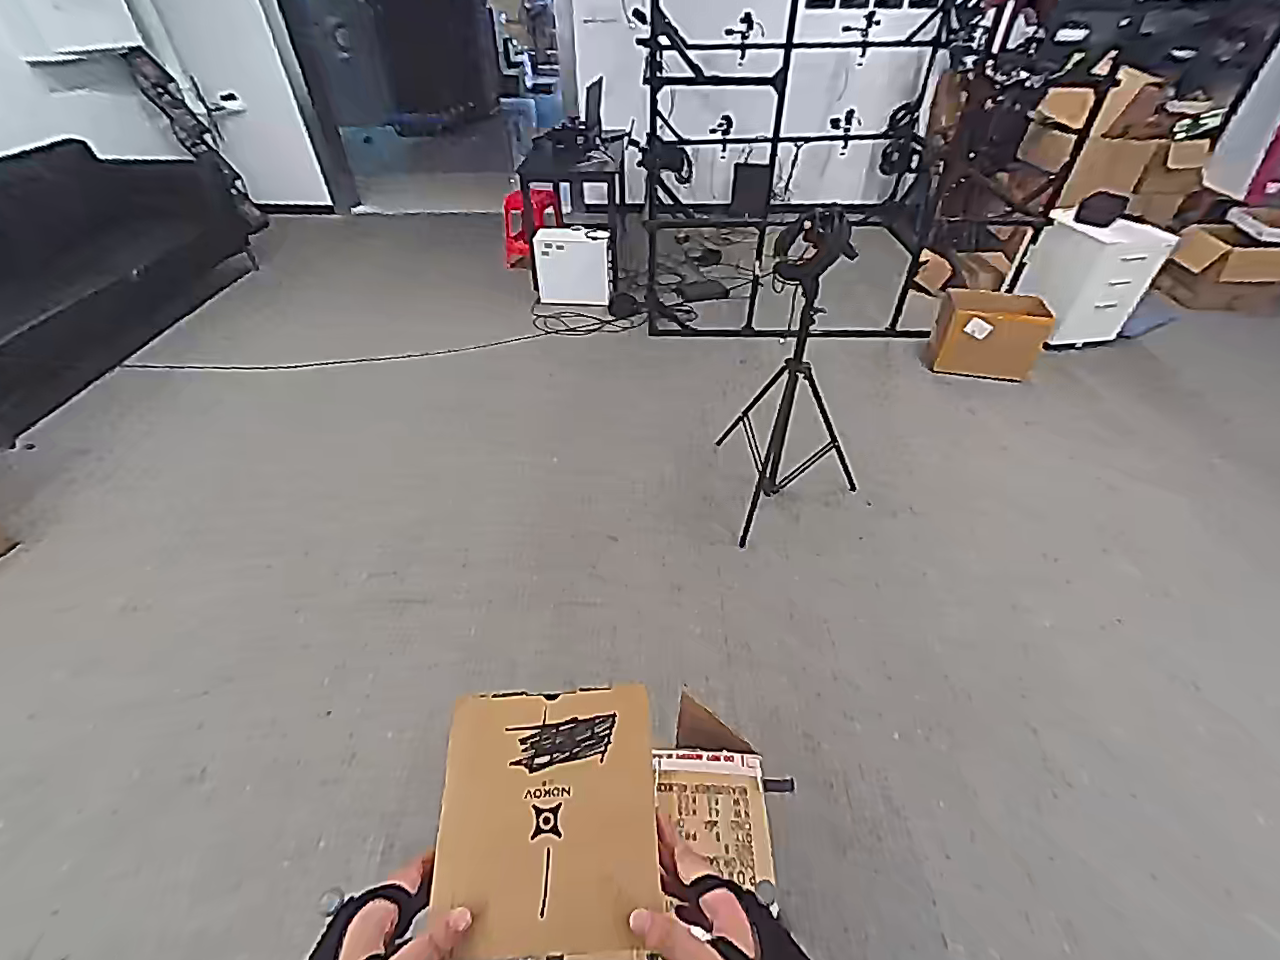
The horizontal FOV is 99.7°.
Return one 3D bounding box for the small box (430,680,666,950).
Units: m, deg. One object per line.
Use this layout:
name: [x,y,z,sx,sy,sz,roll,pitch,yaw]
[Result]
small box: [-0.070,0.296,0.486,0.168,0.176,0.179,-3,54,-3]
